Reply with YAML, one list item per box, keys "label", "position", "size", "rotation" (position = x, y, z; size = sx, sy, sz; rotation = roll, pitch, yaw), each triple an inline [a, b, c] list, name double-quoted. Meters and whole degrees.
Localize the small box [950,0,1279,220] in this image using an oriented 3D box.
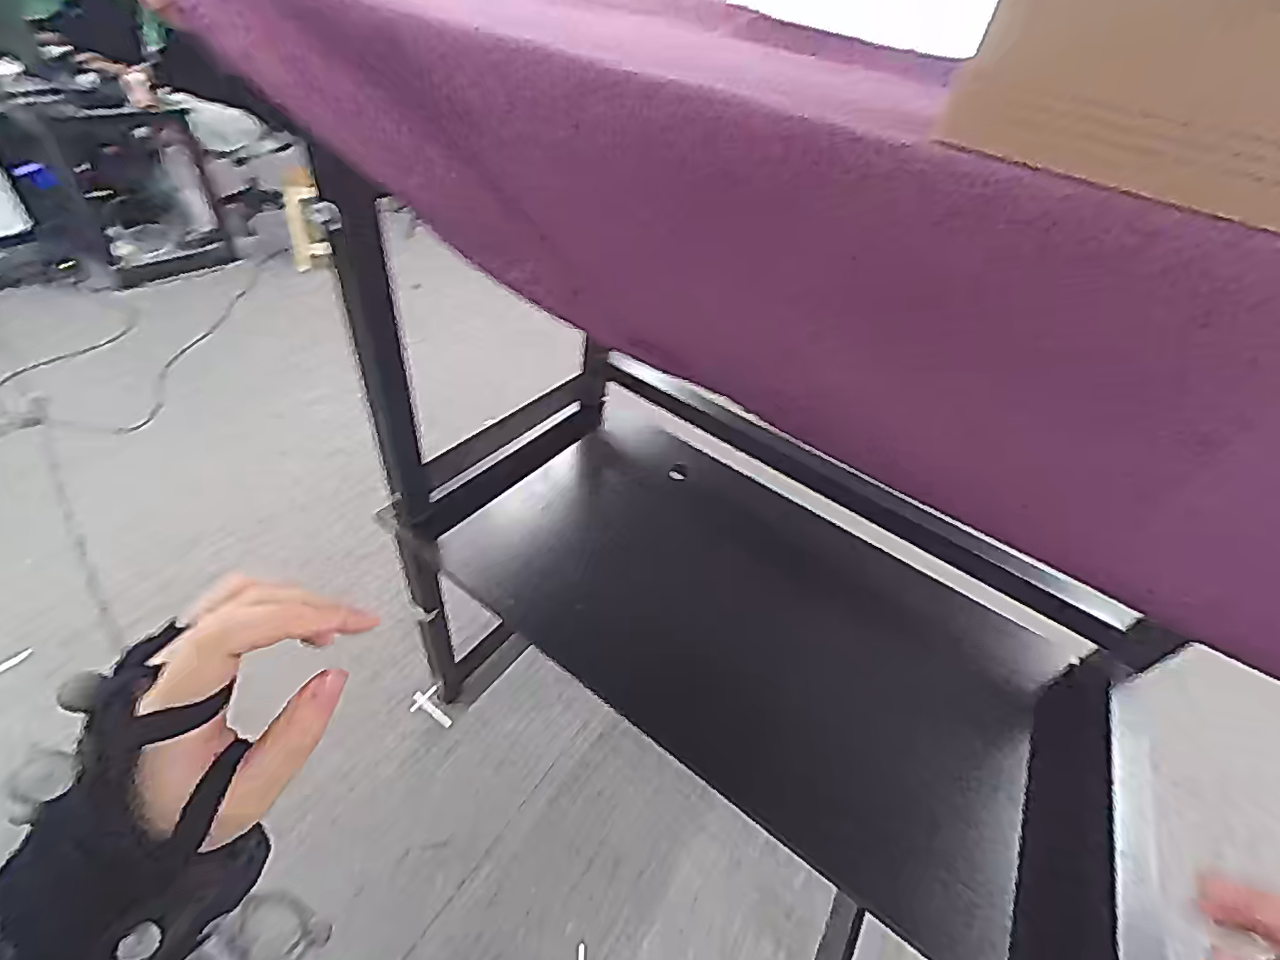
- label: "small box"
  position: [0.295, -0.239, 0.261]
  size: [0.179, 0.176, 0.168]
  rotation: [34, 46, 23]
